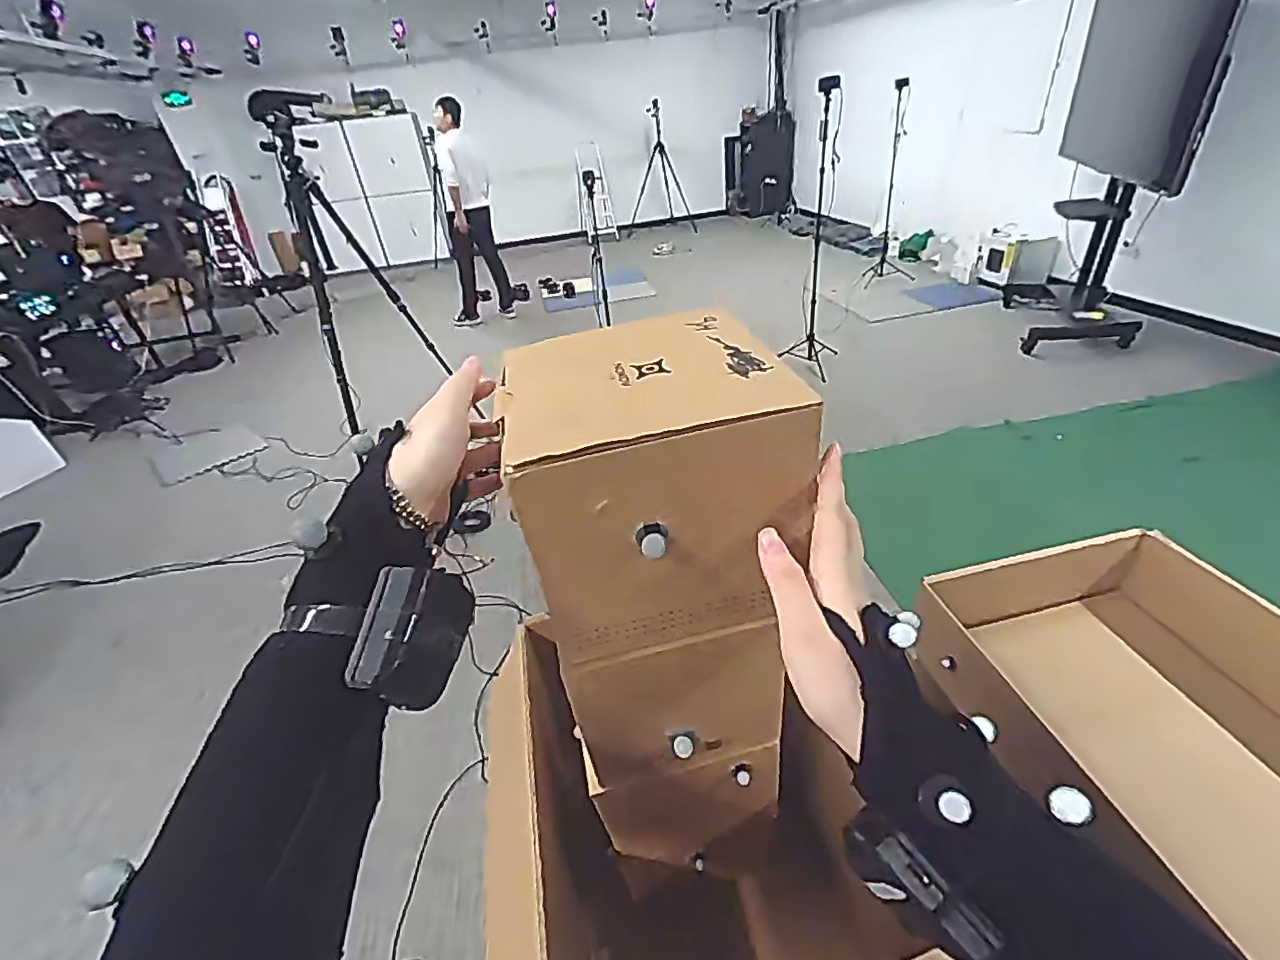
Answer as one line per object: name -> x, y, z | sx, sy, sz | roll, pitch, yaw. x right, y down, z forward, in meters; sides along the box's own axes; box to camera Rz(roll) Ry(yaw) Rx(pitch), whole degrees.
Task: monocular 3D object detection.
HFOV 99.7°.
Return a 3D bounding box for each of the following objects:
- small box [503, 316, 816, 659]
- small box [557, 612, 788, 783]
small box -> 0.010, 0.003, 0.394 | 0.179, 0.176, 0.168 | -13, 37, -5
small box -> 0.019, 0.135, 0.491 | 0.168, 0.176, 0.179 | -12, 38, -5
